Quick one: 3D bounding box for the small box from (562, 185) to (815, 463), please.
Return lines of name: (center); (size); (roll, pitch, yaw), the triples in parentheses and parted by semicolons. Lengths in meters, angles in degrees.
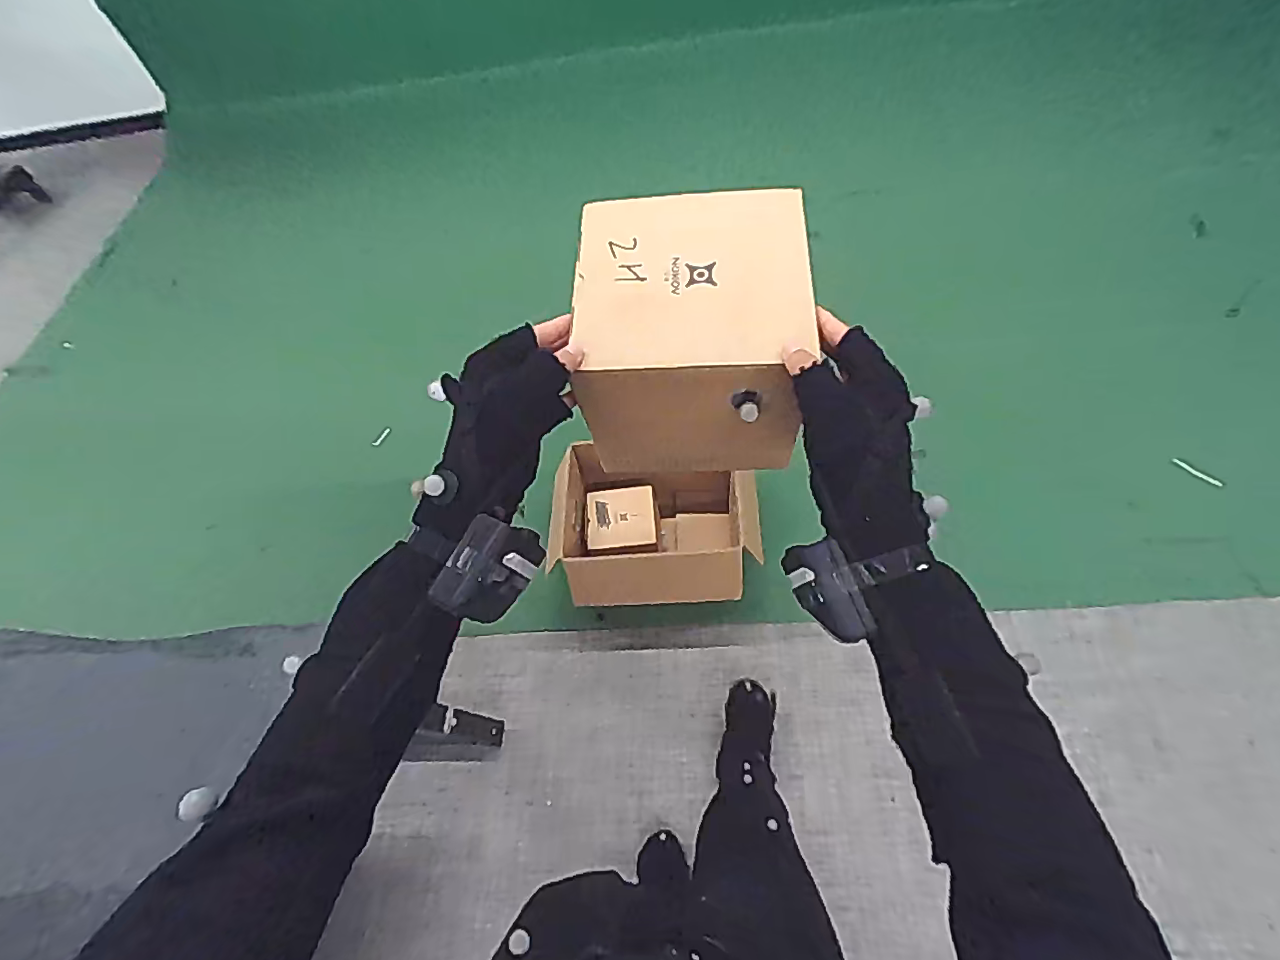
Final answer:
small box: (0.043, -0.122, 0.474); (0.179, 0.176, 0.168); (-1, 65, 7)
